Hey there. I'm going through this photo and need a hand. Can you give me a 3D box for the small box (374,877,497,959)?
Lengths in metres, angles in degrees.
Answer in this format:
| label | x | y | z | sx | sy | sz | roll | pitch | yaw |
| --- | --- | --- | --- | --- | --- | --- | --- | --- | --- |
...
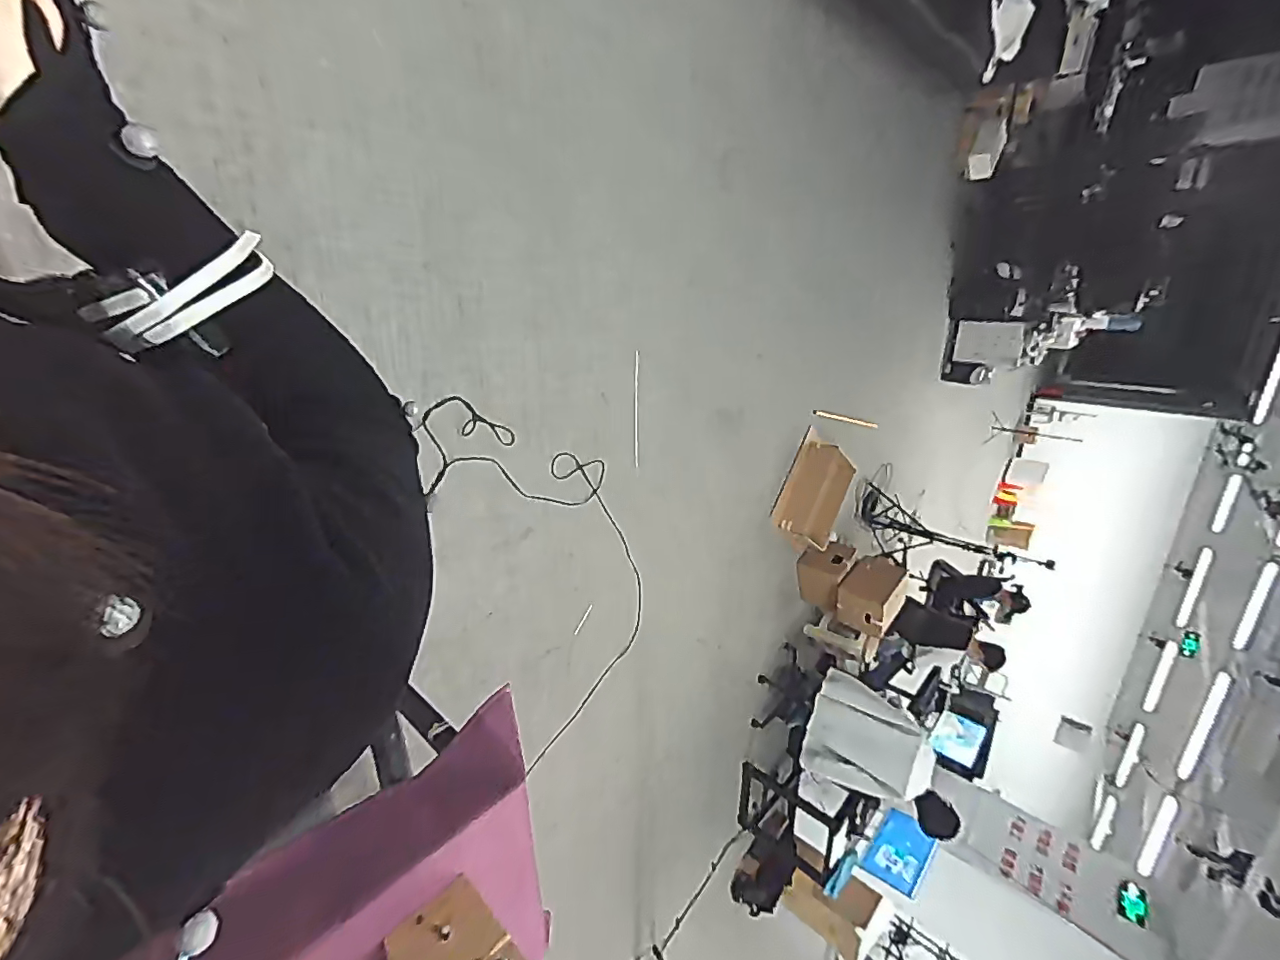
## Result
| label | x | y | z | sx | sy | sz | roll | pitch | yaw |
| --- | --- | --- | --- | --- | --- | --- | --- | --- | --- |
| small box | -0.388 | 0.915 | 1.035 | 0.168 | 0.176 | 0.179 | -18 | 117 | -44 |
